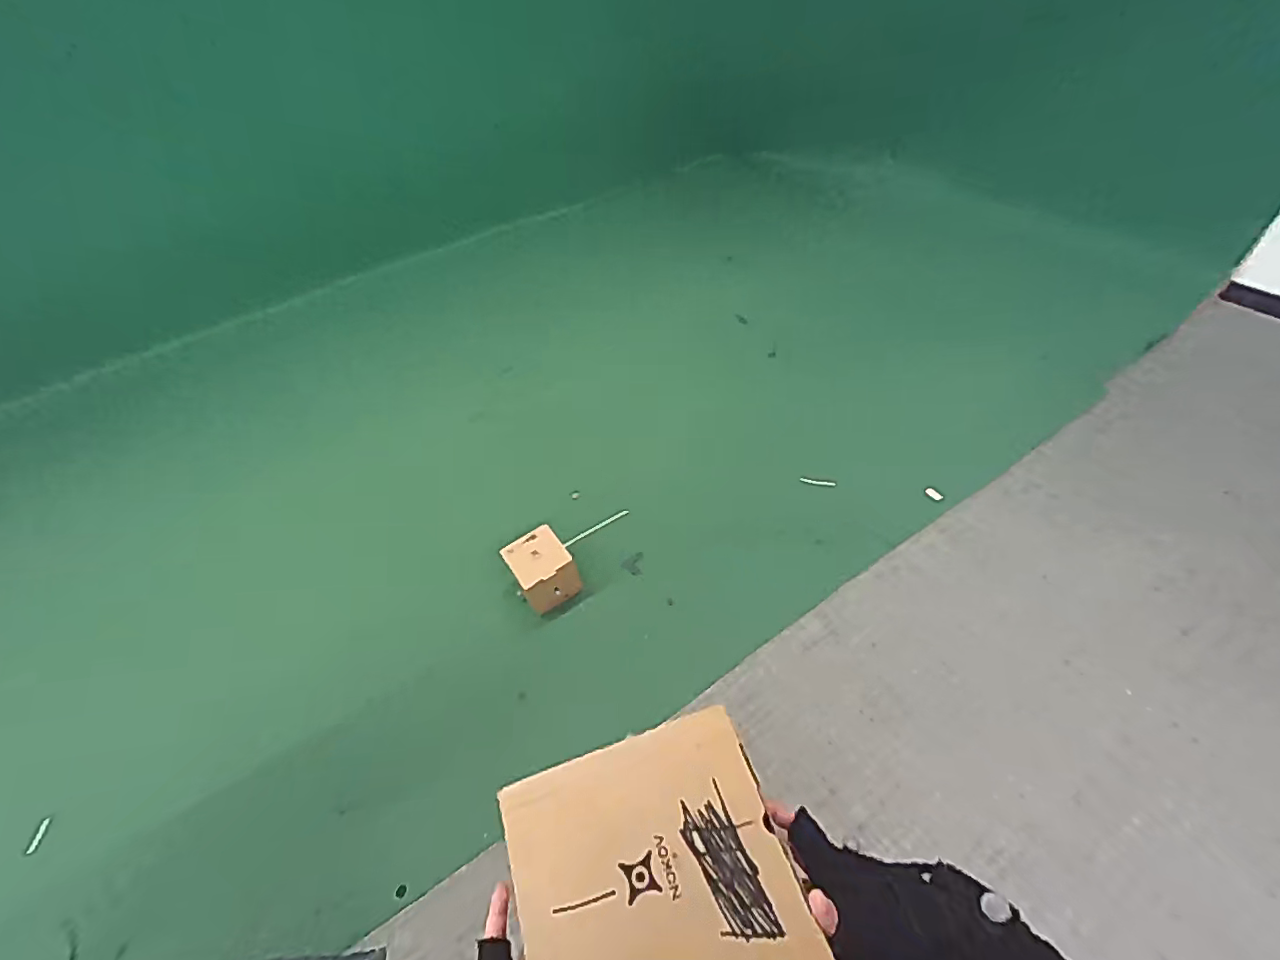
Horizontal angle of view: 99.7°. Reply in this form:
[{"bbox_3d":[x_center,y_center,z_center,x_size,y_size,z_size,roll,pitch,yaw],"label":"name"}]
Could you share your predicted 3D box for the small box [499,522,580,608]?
[{"bbox_3d":[-0.303,0.271,1.665,0.168,0.176,0.179,-31,54,-18],"label":"small box"}]
